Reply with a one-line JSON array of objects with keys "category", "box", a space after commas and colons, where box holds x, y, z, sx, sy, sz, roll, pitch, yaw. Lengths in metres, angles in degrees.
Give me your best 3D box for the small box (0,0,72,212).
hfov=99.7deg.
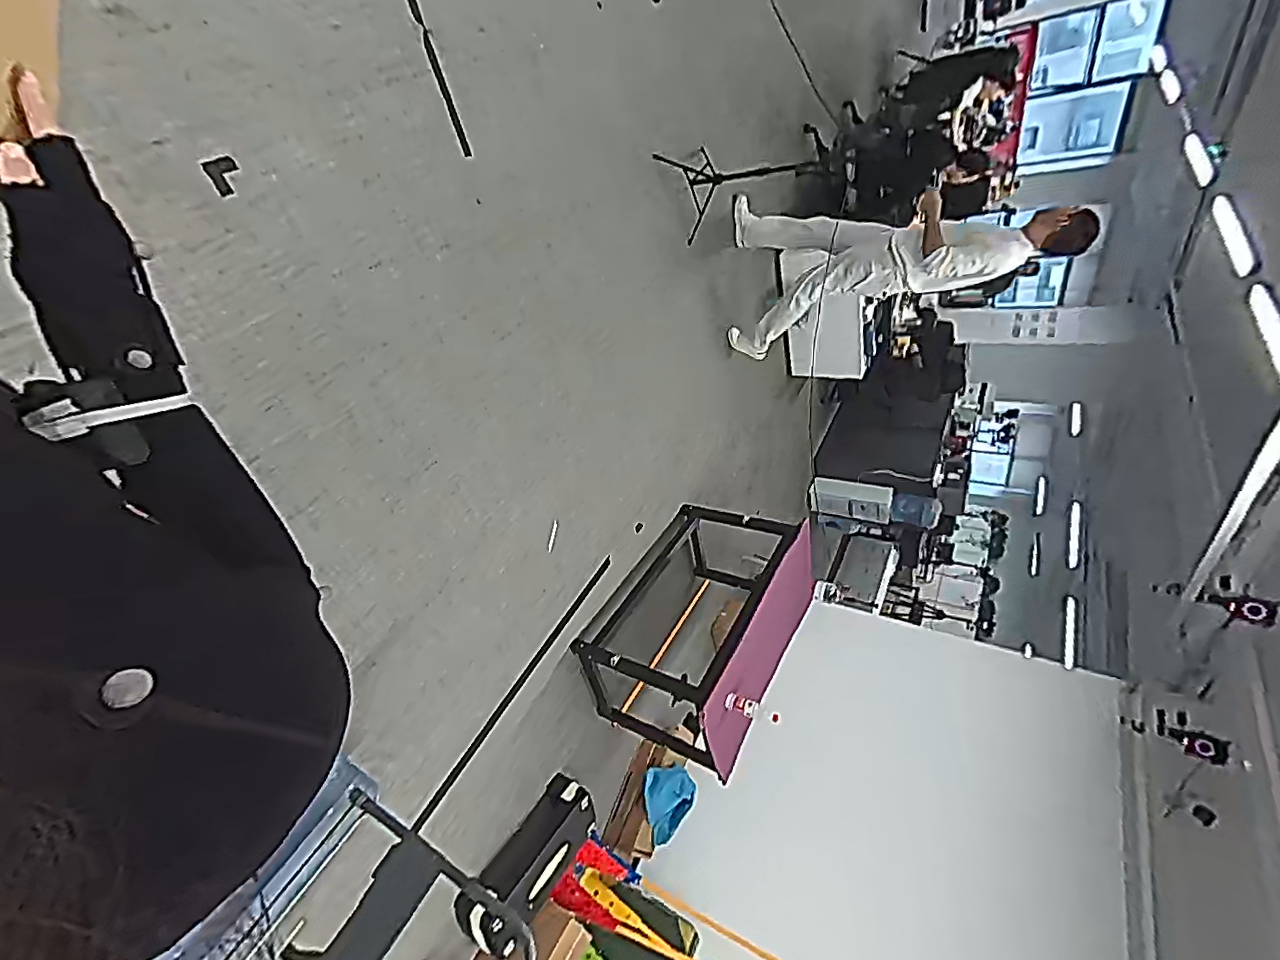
[{"category": "small box", "box": [-0.452, -0.259, 0.268, 0.179, 0.168, 0.176, -106, -161, -87]}]
